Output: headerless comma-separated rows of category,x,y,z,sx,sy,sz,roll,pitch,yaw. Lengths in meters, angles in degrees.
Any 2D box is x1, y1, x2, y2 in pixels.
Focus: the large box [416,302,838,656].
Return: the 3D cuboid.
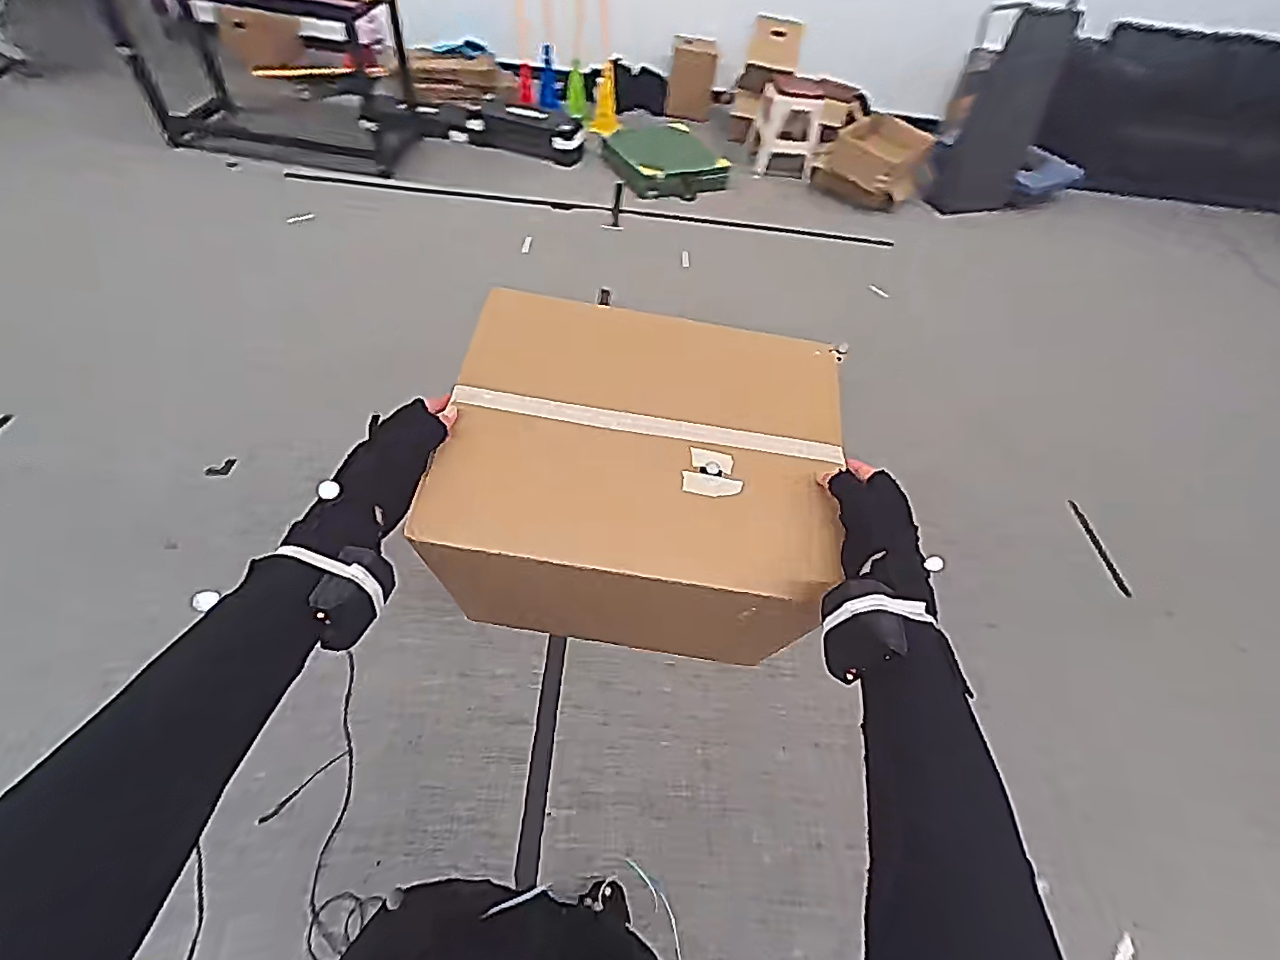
large box,-0.011,0.020,0.698,0.408,0.320,0.320,9,62,-2
